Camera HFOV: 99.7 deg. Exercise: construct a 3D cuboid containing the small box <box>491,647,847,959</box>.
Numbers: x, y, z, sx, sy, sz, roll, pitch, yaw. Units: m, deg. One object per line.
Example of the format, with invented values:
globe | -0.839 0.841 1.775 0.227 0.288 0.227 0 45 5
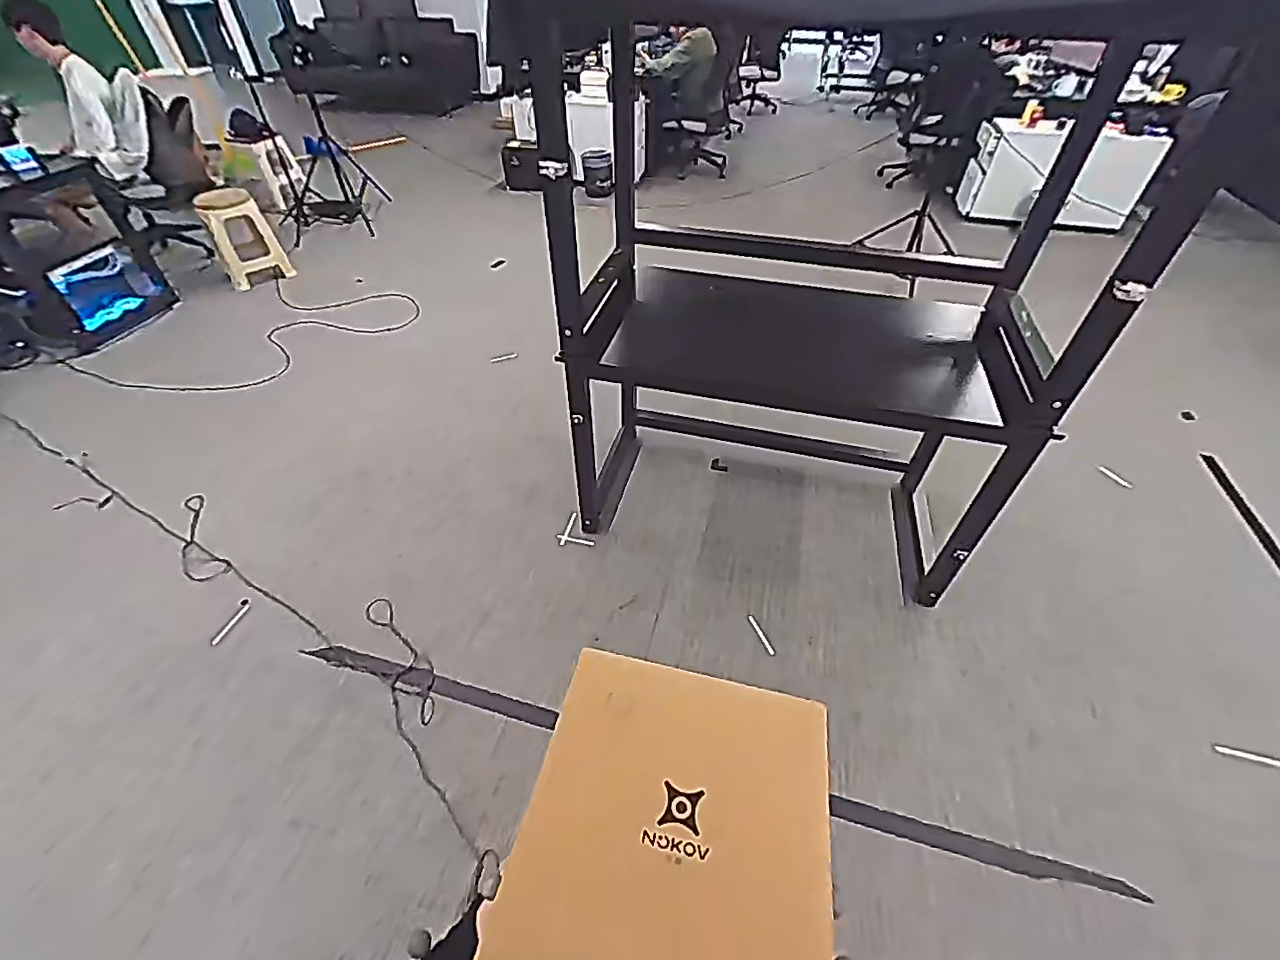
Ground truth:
small box | 0.022 0.243 0.348 0.168 0.176 0.179 11 42 7
